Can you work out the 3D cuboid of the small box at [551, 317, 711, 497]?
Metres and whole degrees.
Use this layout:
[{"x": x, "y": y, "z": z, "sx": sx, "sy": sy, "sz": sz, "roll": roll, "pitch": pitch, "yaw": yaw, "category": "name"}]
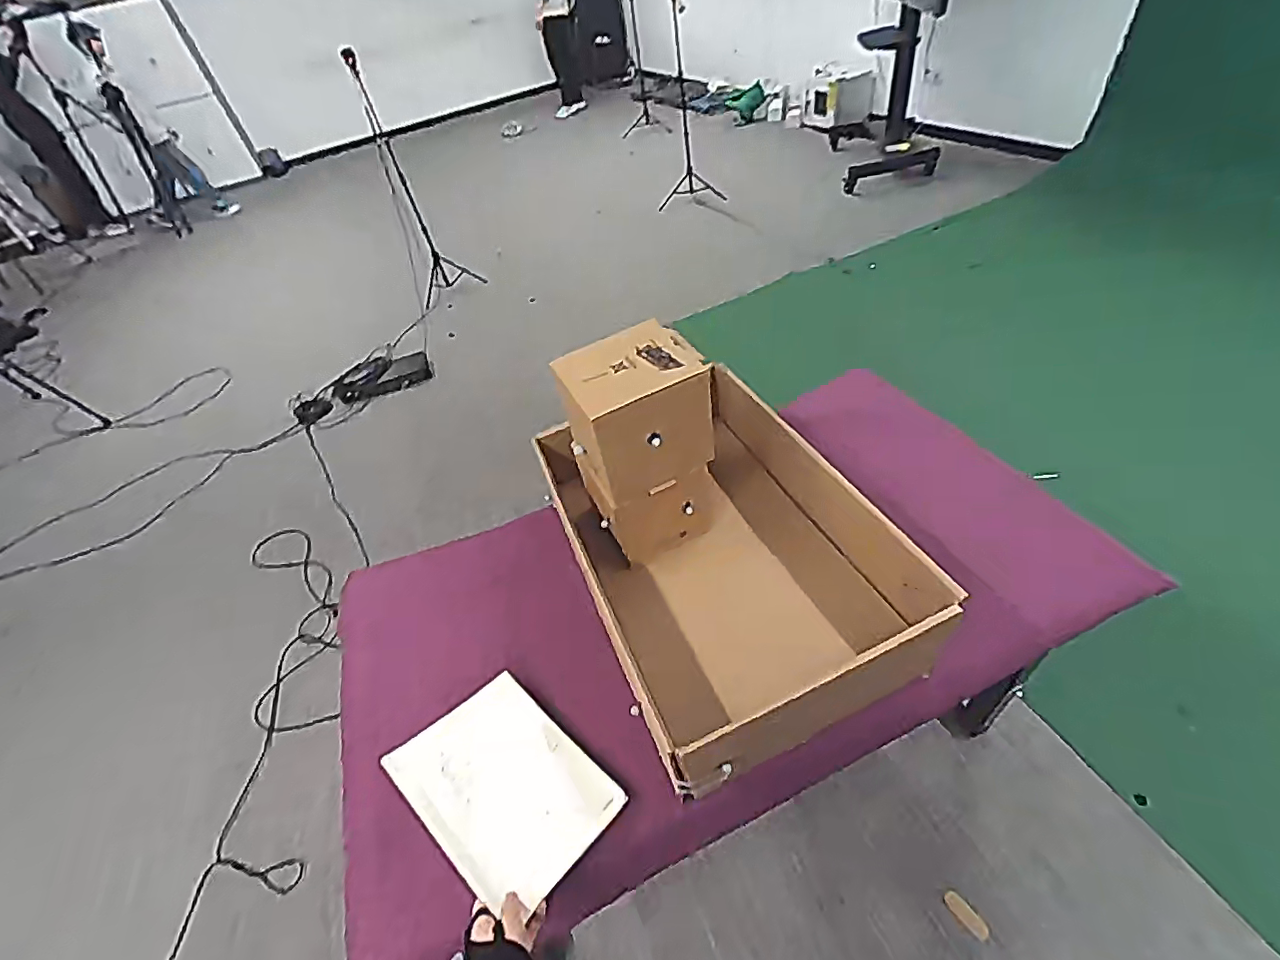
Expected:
[{"x": -0.008, "y": -0.108, "z": 0.804, "sx": 0.179, "sy": 0.176, "sz": 0.168, "roll": -25, "pitch": 47, "yaw": -12, "category": "small box"}]
